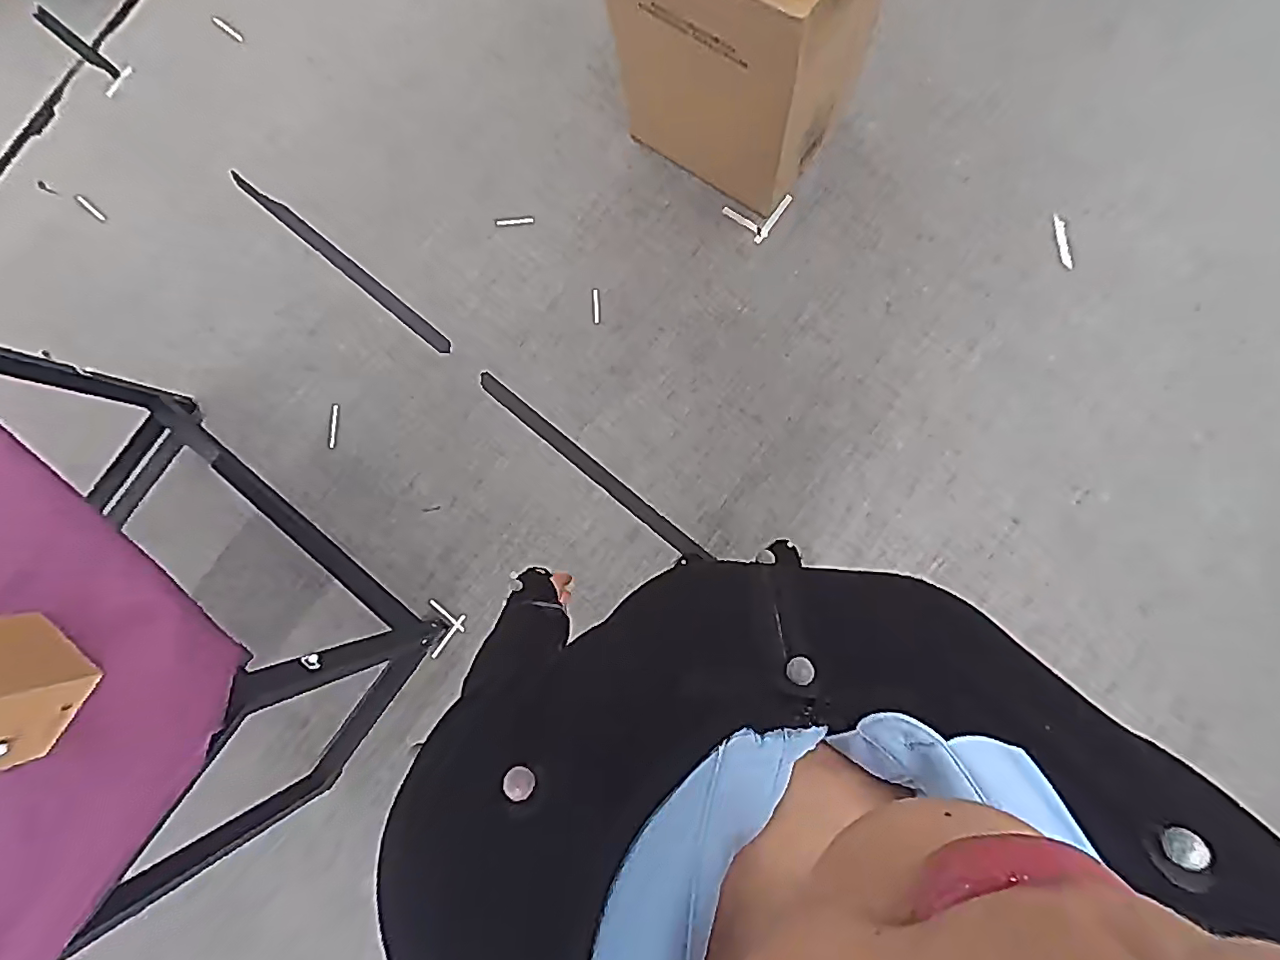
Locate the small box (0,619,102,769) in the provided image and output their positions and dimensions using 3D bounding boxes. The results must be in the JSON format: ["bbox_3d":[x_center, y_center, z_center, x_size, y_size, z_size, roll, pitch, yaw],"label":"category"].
[{"bbox_3d":[-1.001,0.331,0.826,0.179,0.176,0.168,34,89,10],"label":"small box"}]
